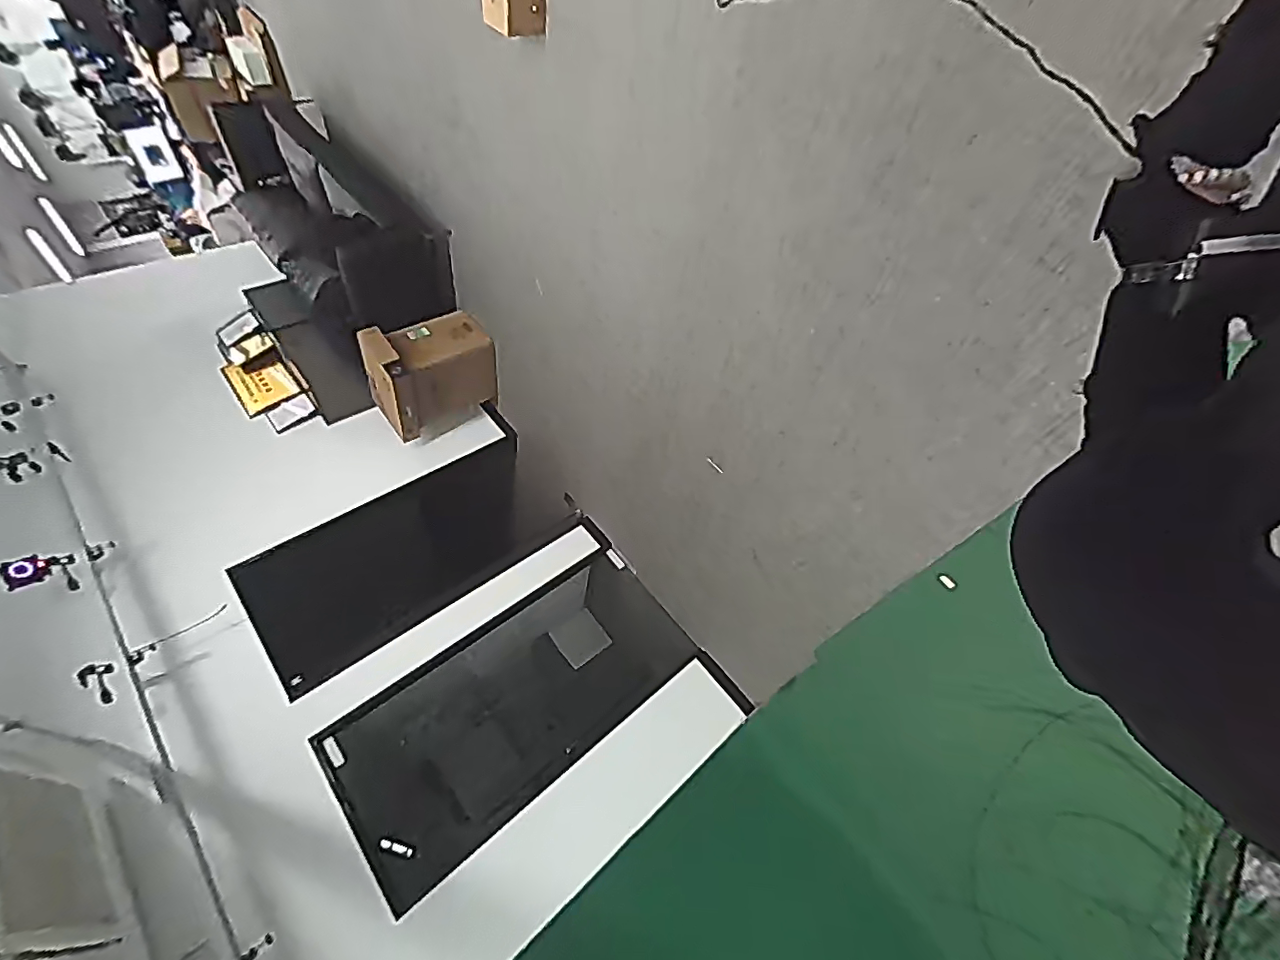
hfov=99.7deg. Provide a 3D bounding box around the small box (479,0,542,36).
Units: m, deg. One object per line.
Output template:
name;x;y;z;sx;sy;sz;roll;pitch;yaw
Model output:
small box;-0.475;-1.759;1.978;0.179;0.176;0.168;45;148;22
